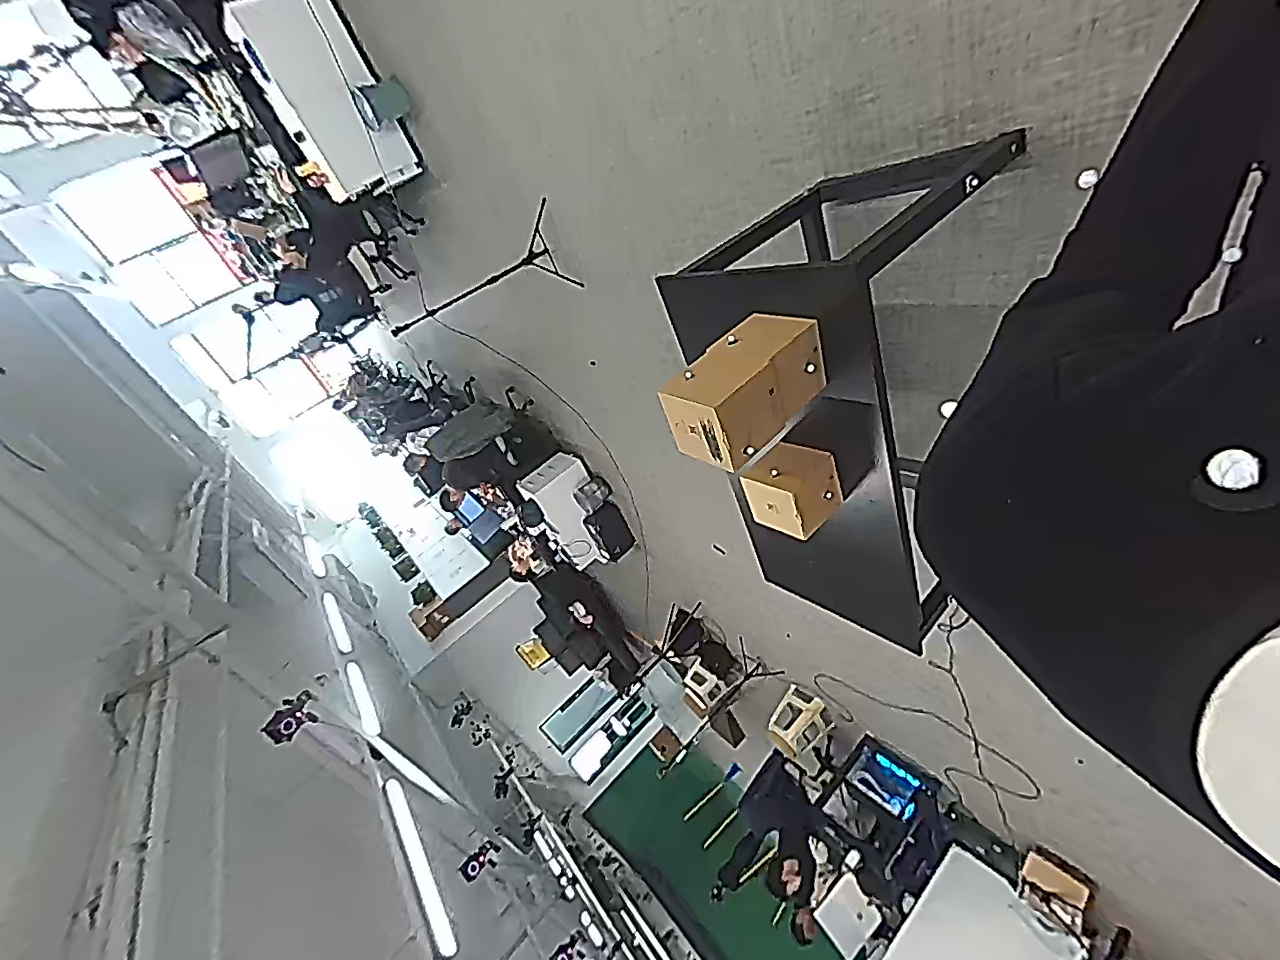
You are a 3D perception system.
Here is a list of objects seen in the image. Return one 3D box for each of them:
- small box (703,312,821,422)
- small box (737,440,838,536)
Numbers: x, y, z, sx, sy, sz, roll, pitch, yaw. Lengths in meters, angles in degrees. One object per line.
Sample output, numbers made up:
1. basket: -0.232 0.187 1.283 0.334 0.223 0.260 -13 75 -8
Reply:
1. small box: 0.273 -0.257 1.200 0.179 0.176 0.168 27 150 46
2. small box: 0.391 0.014 1.426 0.179 0.176 0.168 22 145 51
